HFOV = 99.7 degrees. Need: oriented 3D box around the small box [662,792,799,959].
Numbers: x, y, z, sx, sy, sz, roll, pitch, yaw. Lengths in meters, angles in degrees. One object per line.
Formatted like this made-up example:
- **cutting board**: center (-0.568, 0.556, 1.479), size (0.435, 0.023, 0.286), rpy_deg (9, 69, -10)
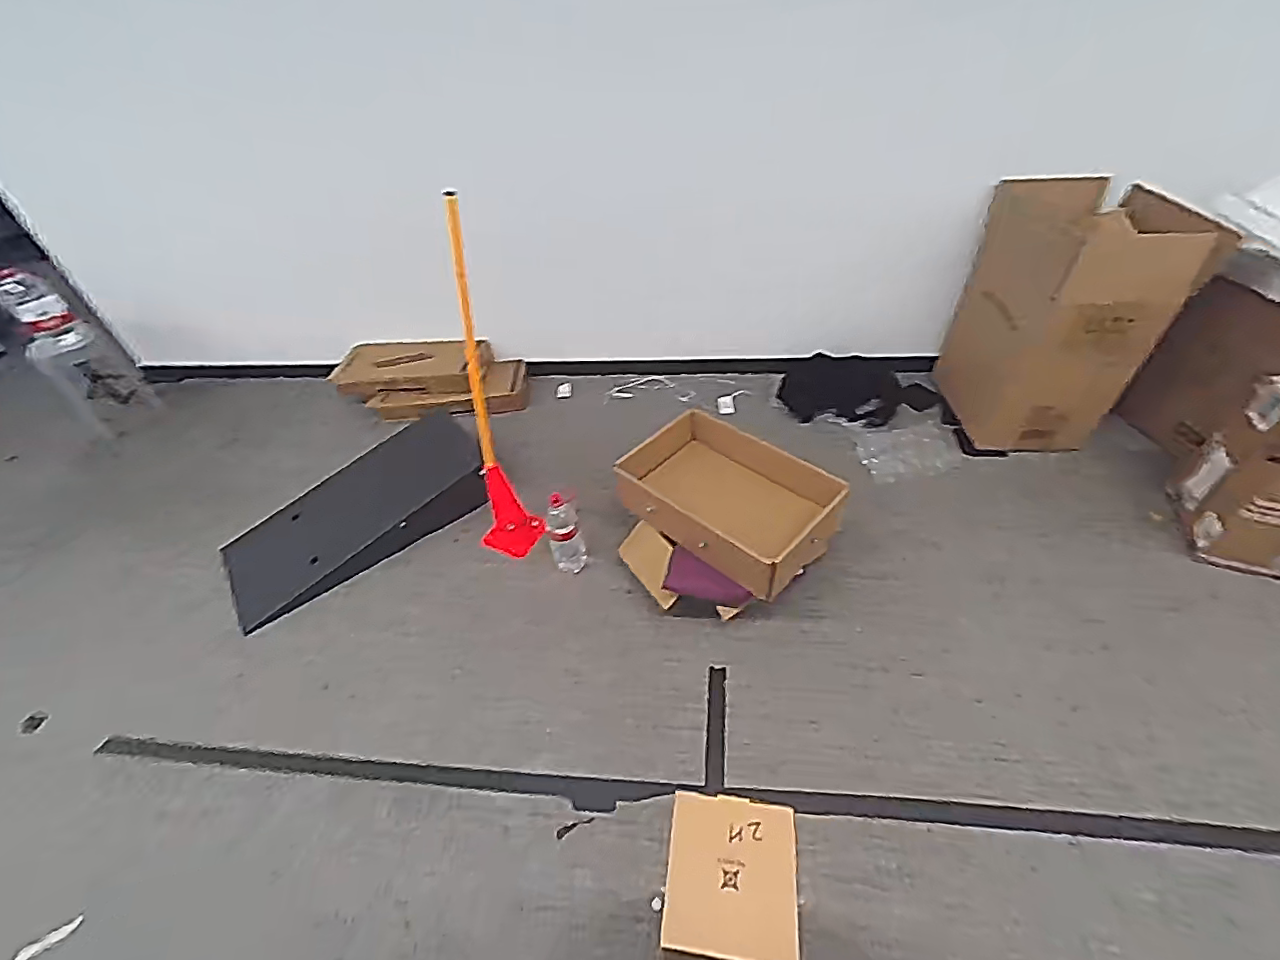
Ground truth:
- **small box**: center (0.126, 0.566, 0.750), size (0.168, 0.176, 0.179), rpy_deg (3, 43, 9)
